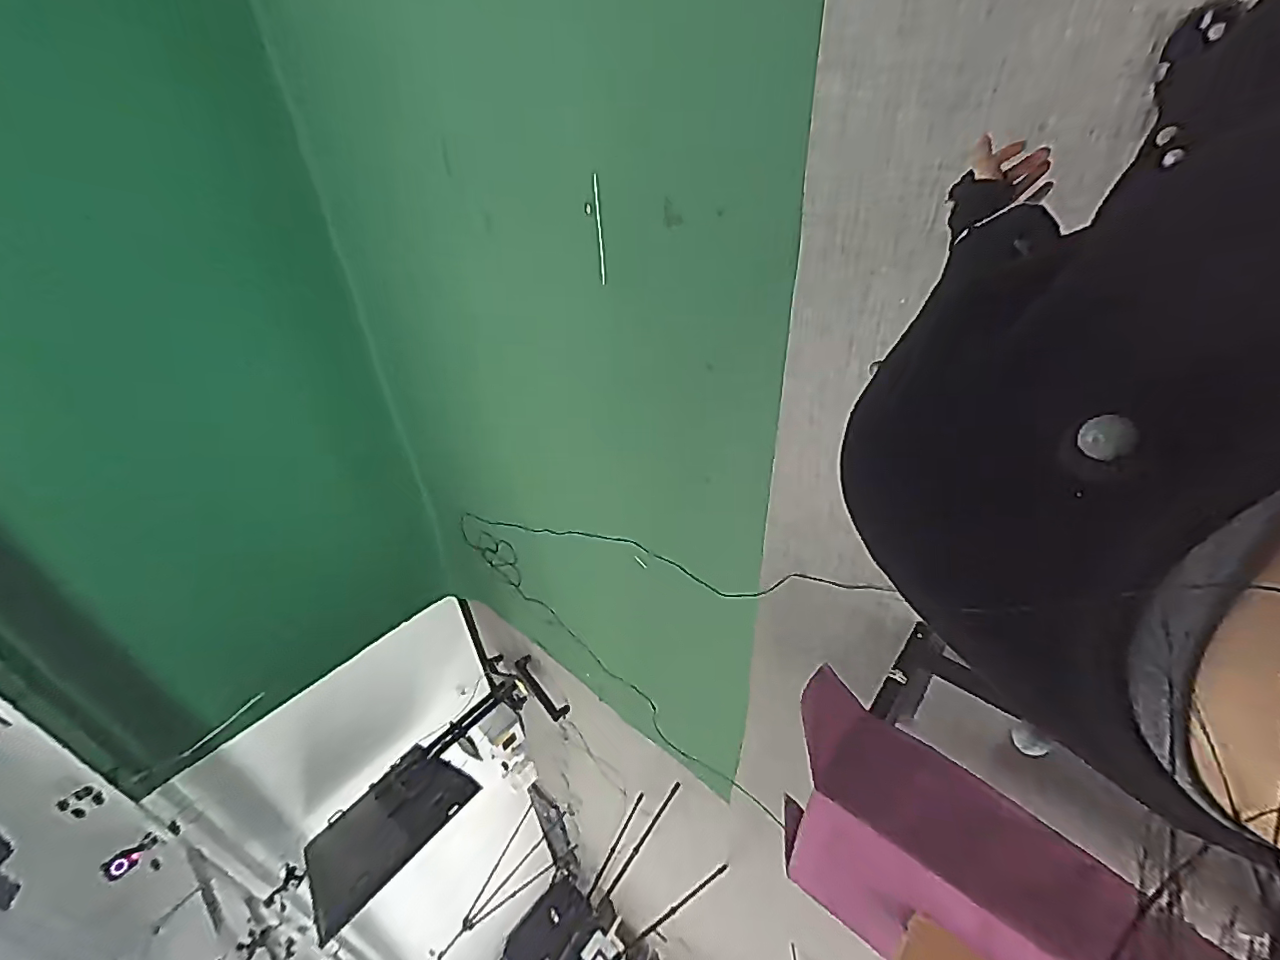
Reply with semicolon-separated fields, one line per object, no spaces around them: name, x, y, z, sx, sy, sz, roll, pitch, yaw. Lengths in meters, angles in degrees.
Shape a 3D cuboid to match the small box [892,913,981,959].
small box;0.706;1.194;1.285;0.179;0.176;0.168;27;134;34
